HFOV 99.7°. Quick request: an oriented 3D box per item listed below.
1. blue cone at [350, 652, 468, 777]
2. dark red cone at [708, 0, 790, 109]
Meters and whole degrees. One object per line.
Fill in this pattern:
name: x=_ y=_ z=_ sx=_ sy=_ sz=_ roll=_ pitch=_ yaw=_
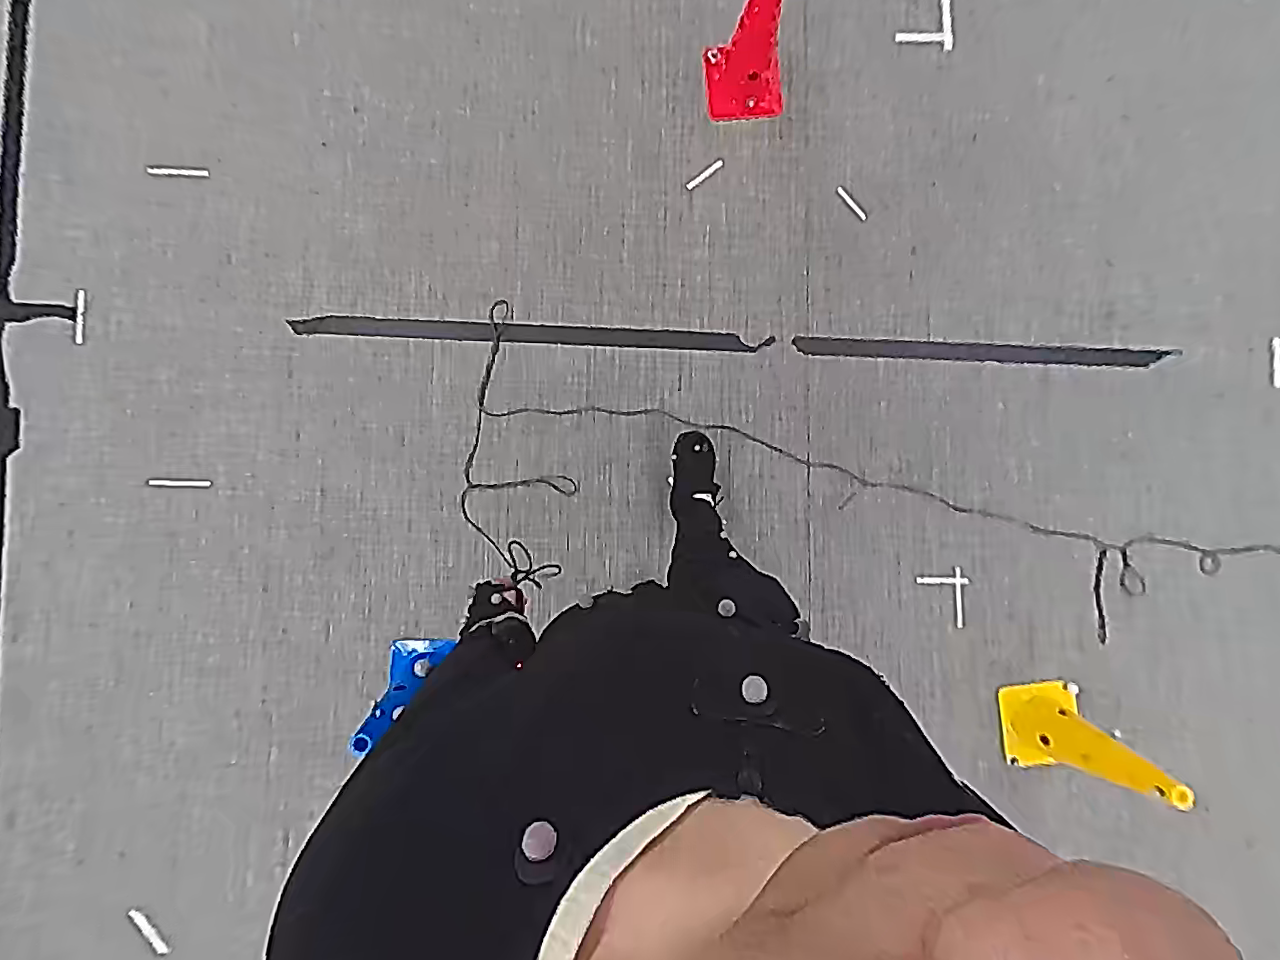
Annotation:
blue cone: x=-0.513 y=0.514 z=1.161 sx=0.193 sy=0.380 sz=0.192 roll=2 pitch=88 yaw=-1
dark red cone: x=0.283 y=-1.055 z=1.223 sx=0.202 sy=0.394 sz=0.201 roll=-6 pitch=89 yaw=-2
